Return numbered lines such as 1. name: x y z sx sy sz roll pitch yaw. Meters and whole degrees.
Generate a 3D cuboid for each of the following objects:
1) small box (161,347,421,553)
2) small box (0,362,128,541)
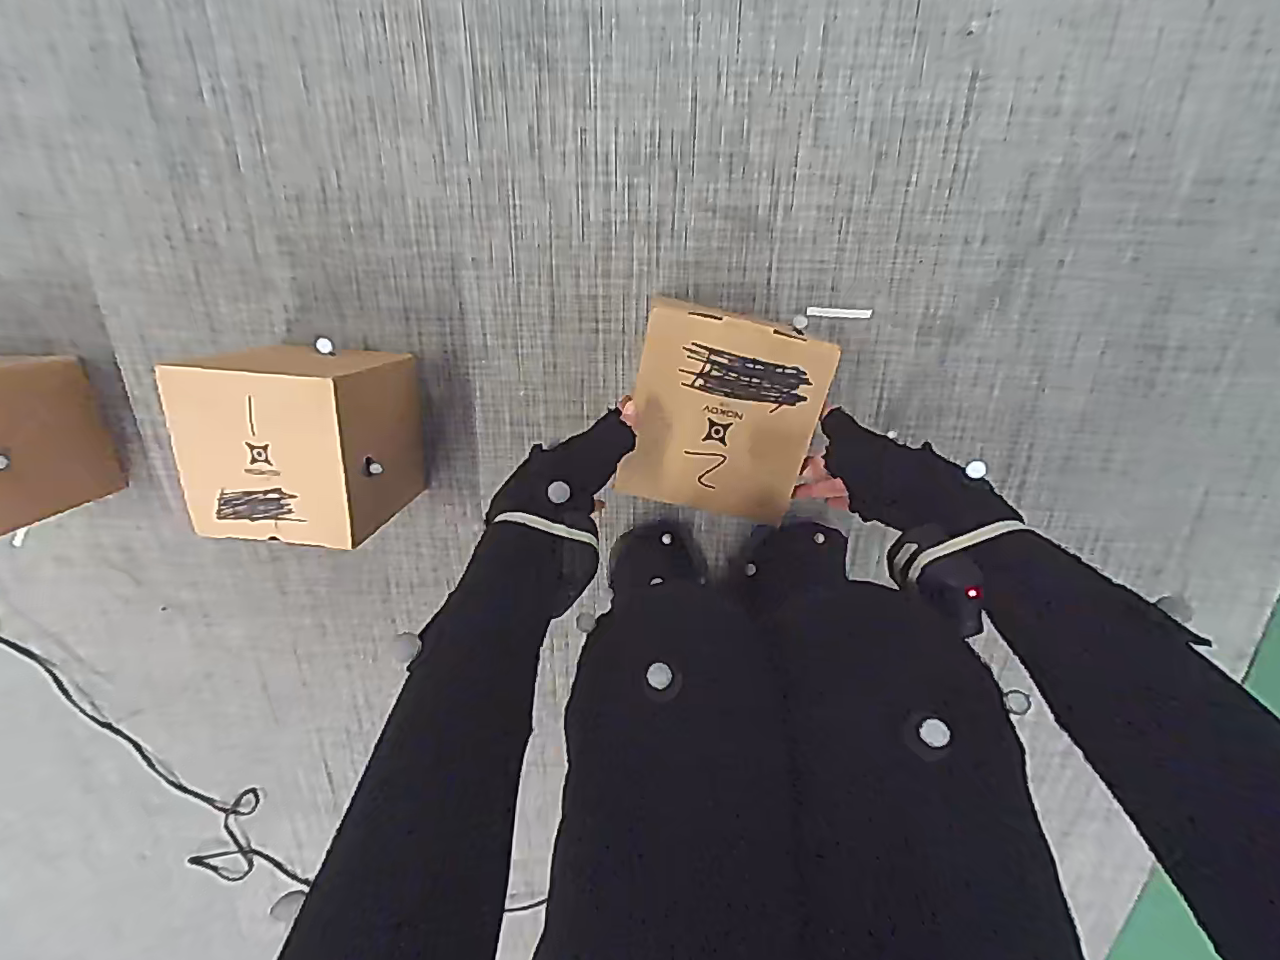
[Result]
1. small box: -0.356 -0.042 0.593 0.168 0.176 0.179 5 110 2
2. small box: -0.759 -0.040 0.617 0.168 0.176 0.179 0 111 3
